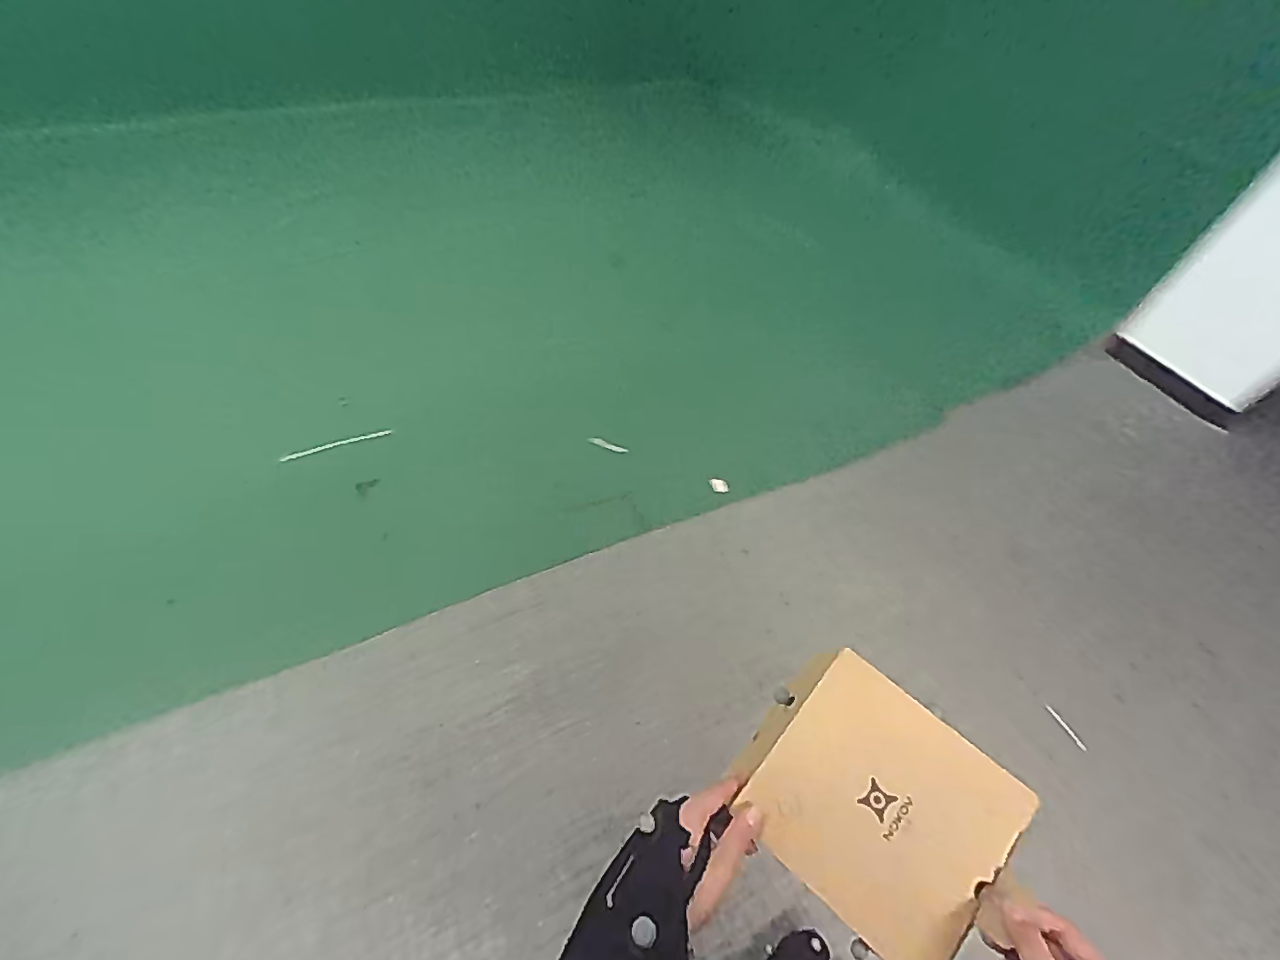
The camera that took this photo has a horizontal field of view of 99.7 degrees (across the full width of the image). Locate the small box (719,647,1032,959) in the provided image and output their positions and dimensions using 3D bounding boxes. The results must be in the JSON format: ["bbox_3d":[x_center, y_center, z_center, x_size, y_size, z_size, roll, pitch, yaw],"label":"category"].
[{"bbox_3d":[0.187,0.279,0.489,0.179,0.176,0.168,36,75,16],"label":"small box"}]
